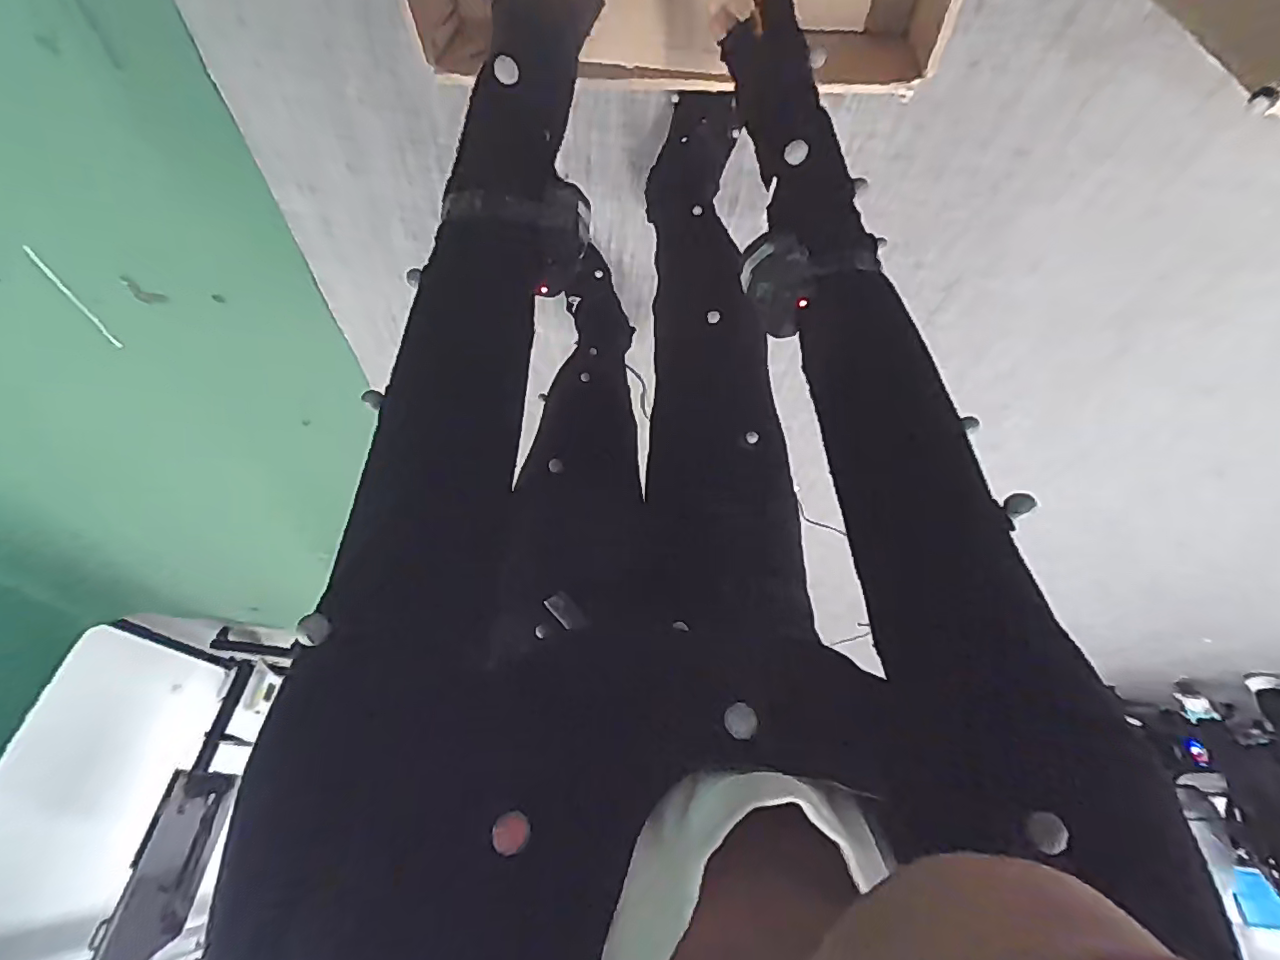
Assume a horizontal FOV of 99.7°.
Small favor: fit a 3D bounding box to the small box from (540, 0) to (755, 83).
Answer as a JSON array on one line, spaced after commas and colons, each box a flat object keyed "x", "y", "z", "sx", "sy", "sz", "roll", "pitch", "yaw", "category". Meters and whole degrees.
[{"x": 0.014, "y": -0.468, "z": 0.454, "sx": 0.179, "sy": 0.176, "sz": 0.168, "roll": 6, "pitch": 144, "yaw": 0, "category": "small box"}]
